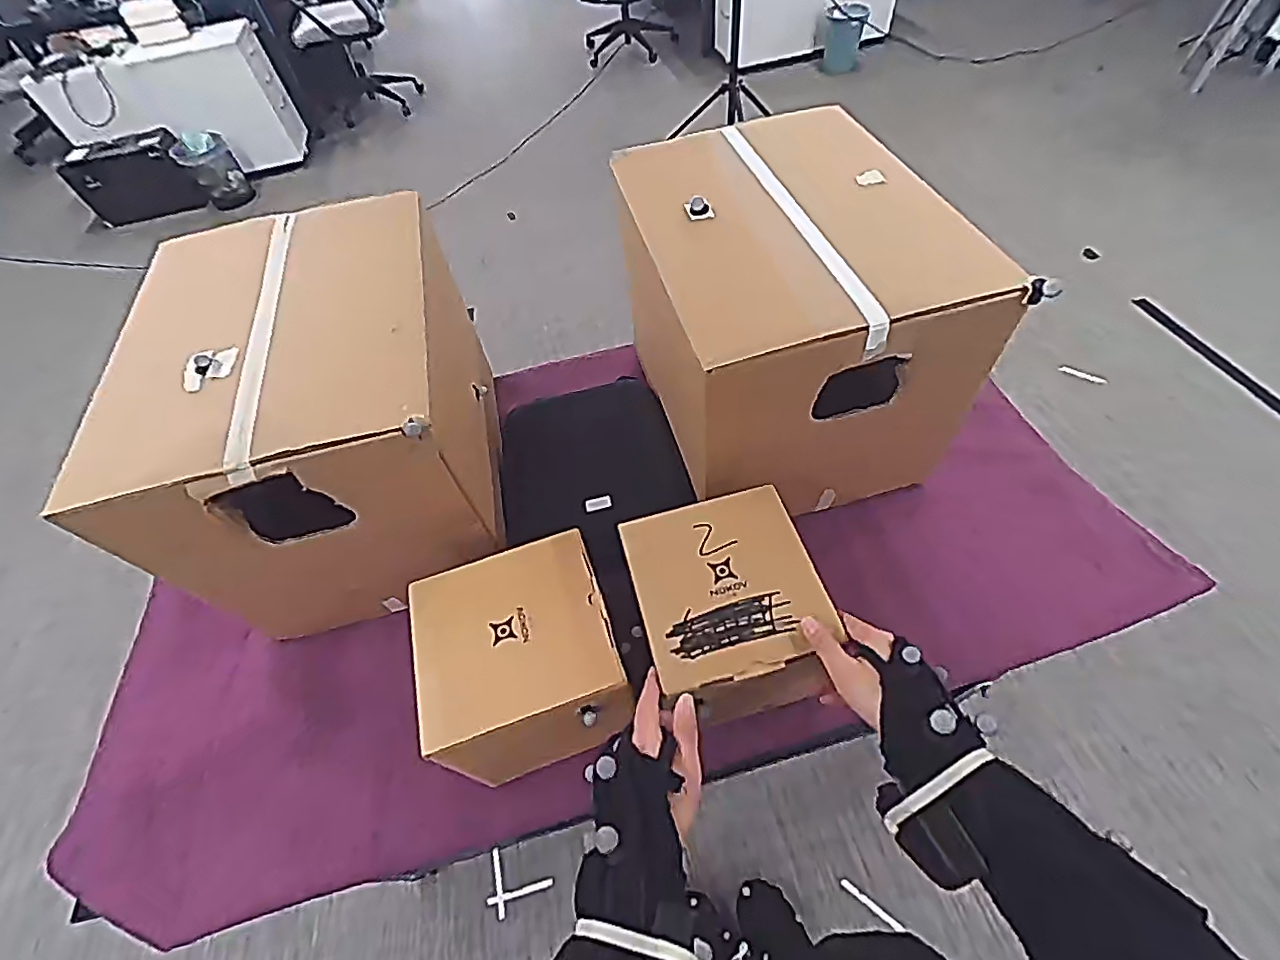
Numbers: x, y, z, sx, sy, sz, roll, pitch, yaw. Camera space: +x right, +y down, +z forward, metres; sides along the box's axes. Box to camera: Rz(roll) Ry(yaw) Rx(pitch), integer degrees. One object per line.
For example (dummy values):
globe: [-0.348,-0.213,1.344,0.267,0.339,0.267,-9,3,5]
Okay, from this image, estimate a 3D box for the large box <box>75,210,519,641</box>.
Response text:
large box: [-0.366,-0.067,0.689,0.320,0.320,0.408,-16,57,-4]
